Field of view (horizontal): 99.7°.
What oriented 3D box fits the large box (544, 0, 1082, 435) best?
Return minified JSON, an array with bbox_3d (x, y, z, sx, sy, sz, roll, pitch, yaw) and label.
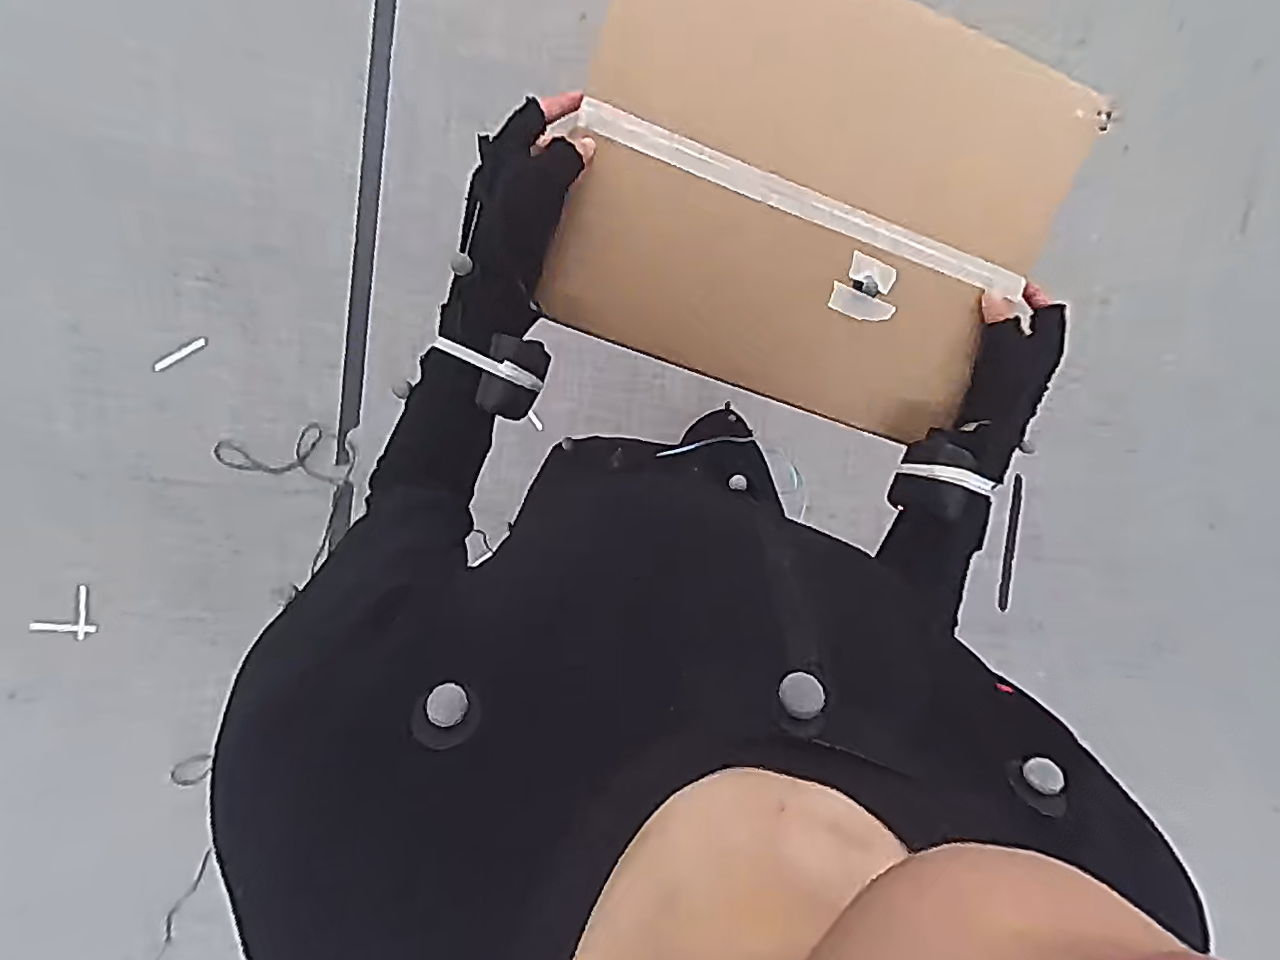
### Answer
[{"bbox_3d":[0.134,-0.279,0.611,0.408,0.320,0.320,18,105,-10],"label":"large box"}]
